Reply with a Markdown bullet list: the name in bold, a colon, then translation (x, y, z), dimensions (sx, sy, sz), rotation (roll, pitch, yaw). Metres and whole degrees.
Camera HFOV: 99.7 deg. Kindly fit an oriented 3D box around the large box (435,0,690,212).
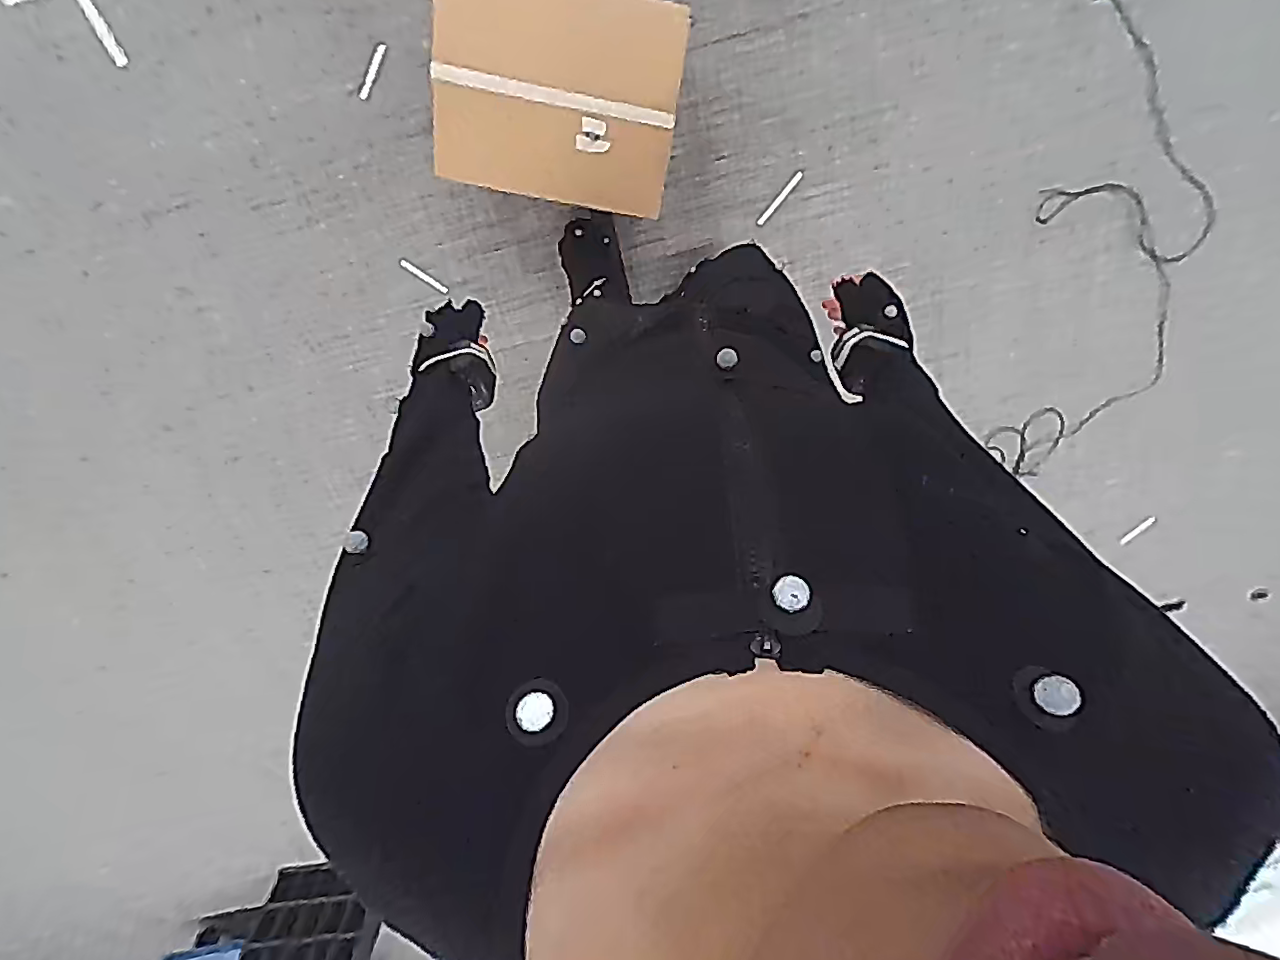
- **large box**: translation (-0.150, -0.721, 1.040), dimensions (0.408, 0.320, 0.320), rotation (6, 119, -9)
